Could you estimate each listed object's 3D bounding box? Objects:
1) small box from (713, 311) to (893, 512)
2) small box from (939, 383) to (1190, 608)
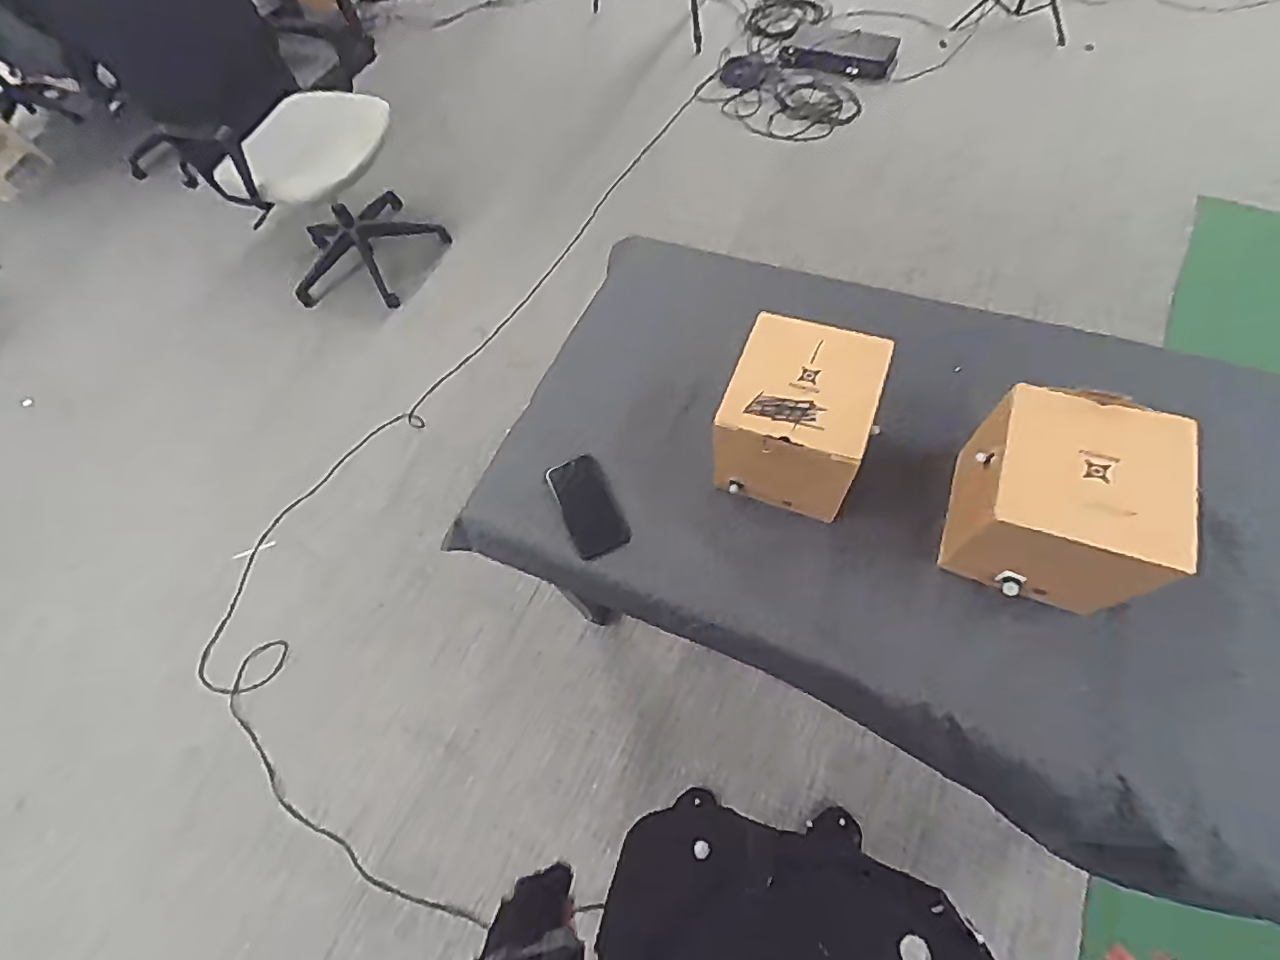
[{"bbox_3d":[0.202,-0.081,0.700,0.168,0.176,0.179,19,67,16],"label":"small box"},{"bbox_3d":[0.465,0.023,0.616,0.168,0.176,0.179,17,68,17],"label":"small box"}]
